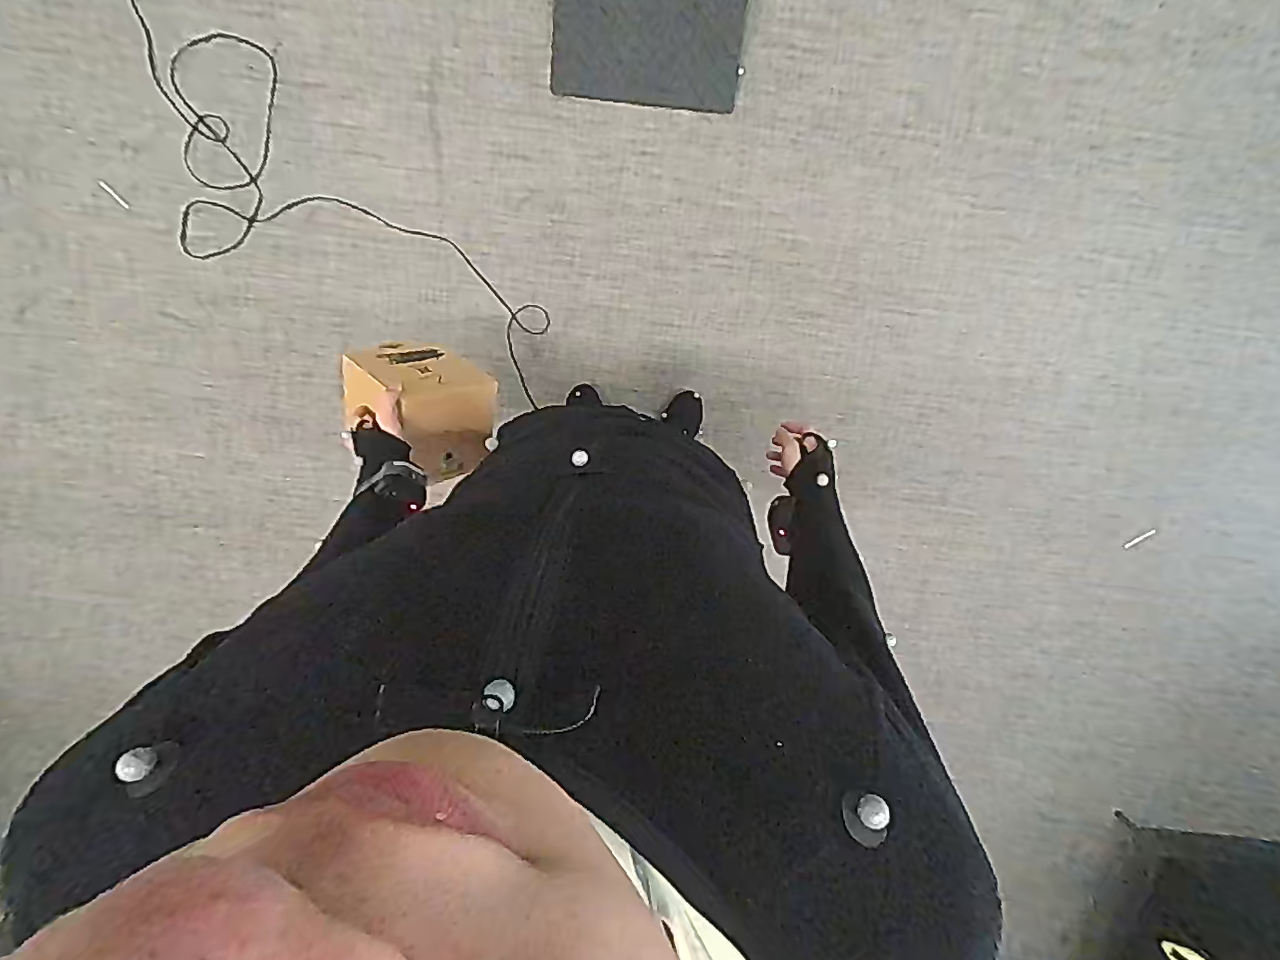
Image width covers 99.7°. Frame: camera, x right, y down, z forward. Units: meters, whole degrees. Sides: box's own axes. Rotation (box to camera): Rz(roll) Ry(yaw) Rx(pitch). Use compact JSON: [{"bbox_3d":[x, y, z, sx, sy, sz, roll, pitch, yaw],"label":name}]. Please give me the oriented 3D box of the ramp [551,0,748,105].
[{"bbox_3d":[0.056,-1.472,1.241,0.509,0.206,0.991,4,102,-2],"label":"ramp"}]
